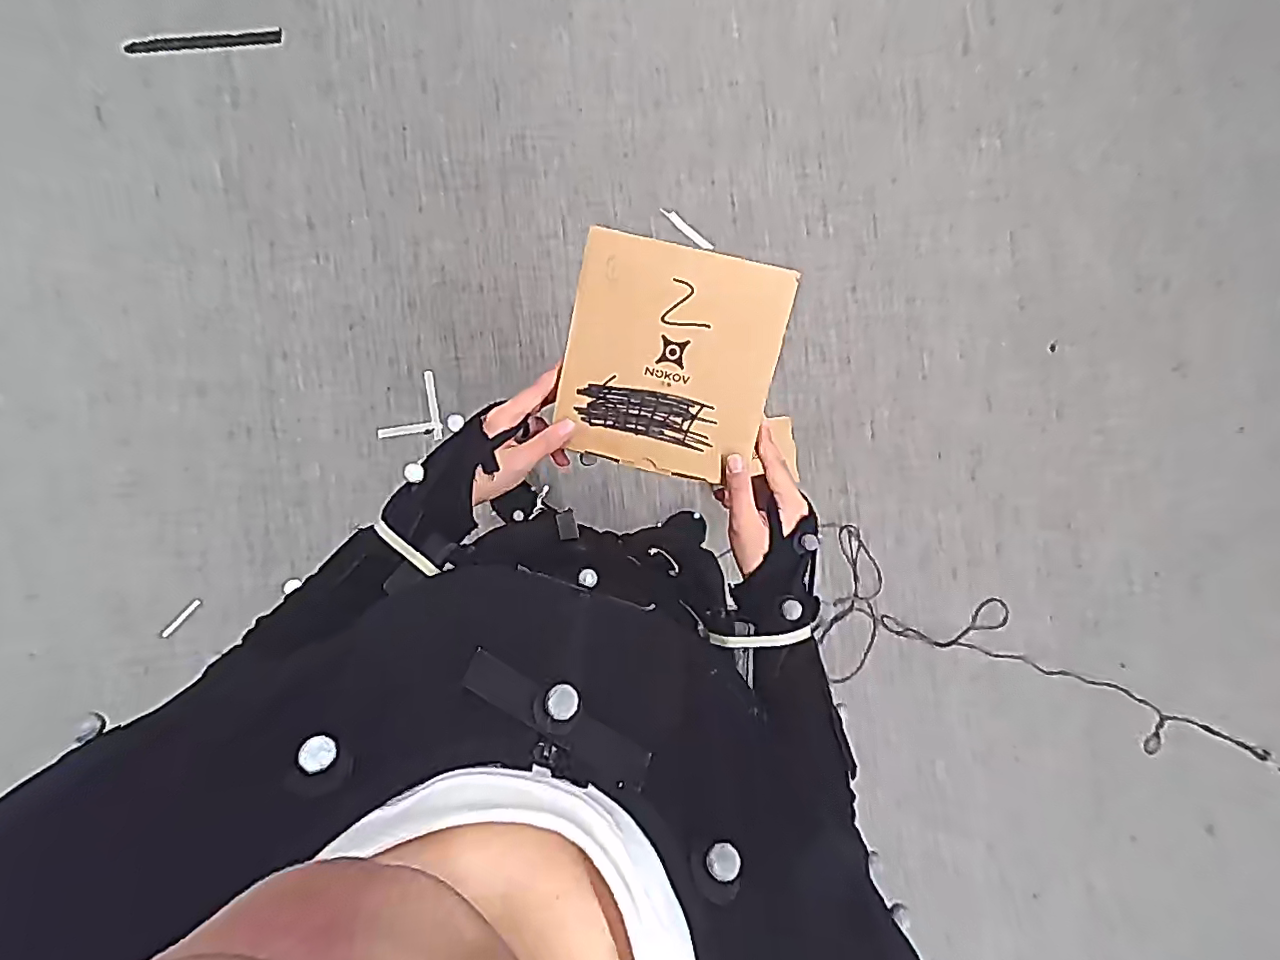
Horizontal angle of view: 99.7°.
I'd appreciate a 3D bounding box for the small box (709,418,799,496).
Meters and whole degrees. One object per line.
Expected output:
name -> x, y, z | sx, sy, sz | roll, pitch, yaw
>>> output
small box -> 0.270, -0.052, 1.326 | 0.179, 0.176, 0.168 | -7, 91, -4
